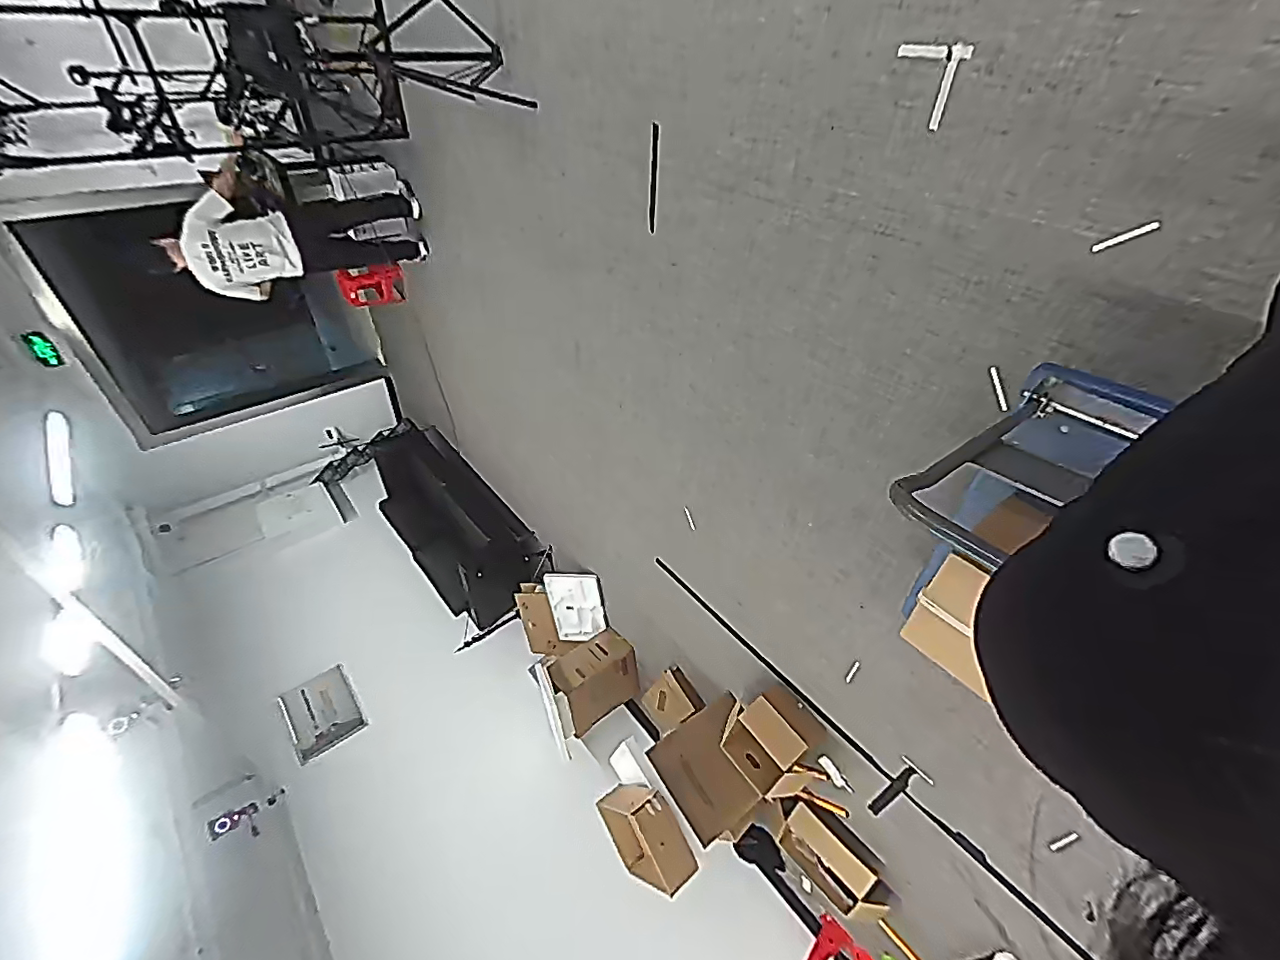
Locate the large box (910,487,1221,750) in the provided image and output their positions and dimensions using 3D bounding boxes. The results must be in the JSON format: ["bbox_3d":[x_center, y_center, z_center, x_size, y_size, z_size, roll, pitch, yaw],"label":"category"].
[{"bbox_3d":[0.907,0.282,1.198,0.408,0.320,0.320,38,142,34],"label":"large box"}]
